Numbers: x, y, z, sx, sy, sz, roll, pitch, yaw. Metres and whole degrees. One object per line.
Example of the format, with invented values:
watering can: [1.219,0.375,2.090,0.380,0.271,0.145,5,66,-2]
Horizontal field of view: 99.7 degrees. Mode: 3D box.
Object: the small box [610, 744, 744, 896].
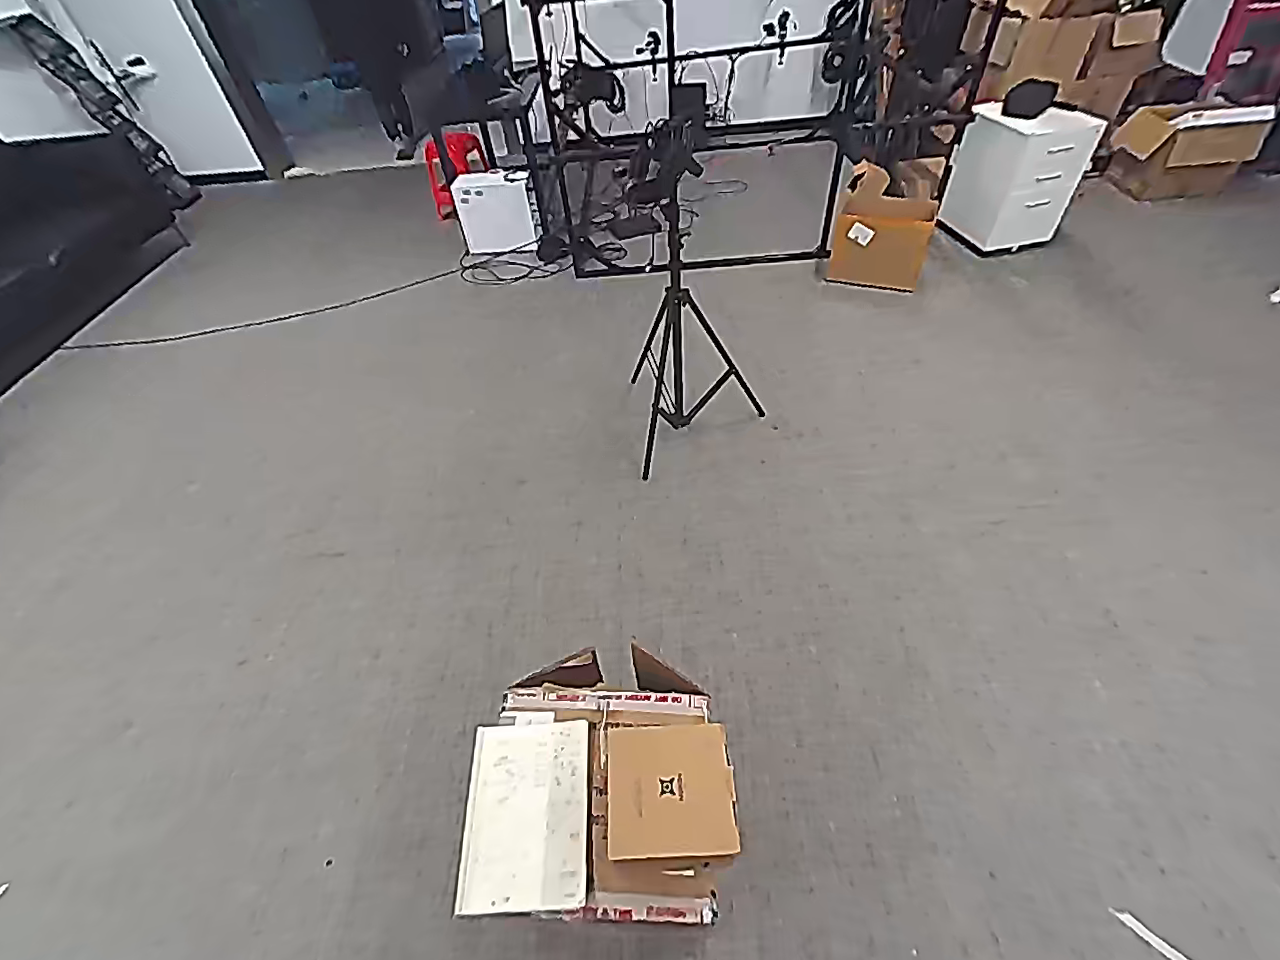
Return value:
small box: [0.048,0.511,0.812,0.179,0.176,0.168,-4,48,0]
